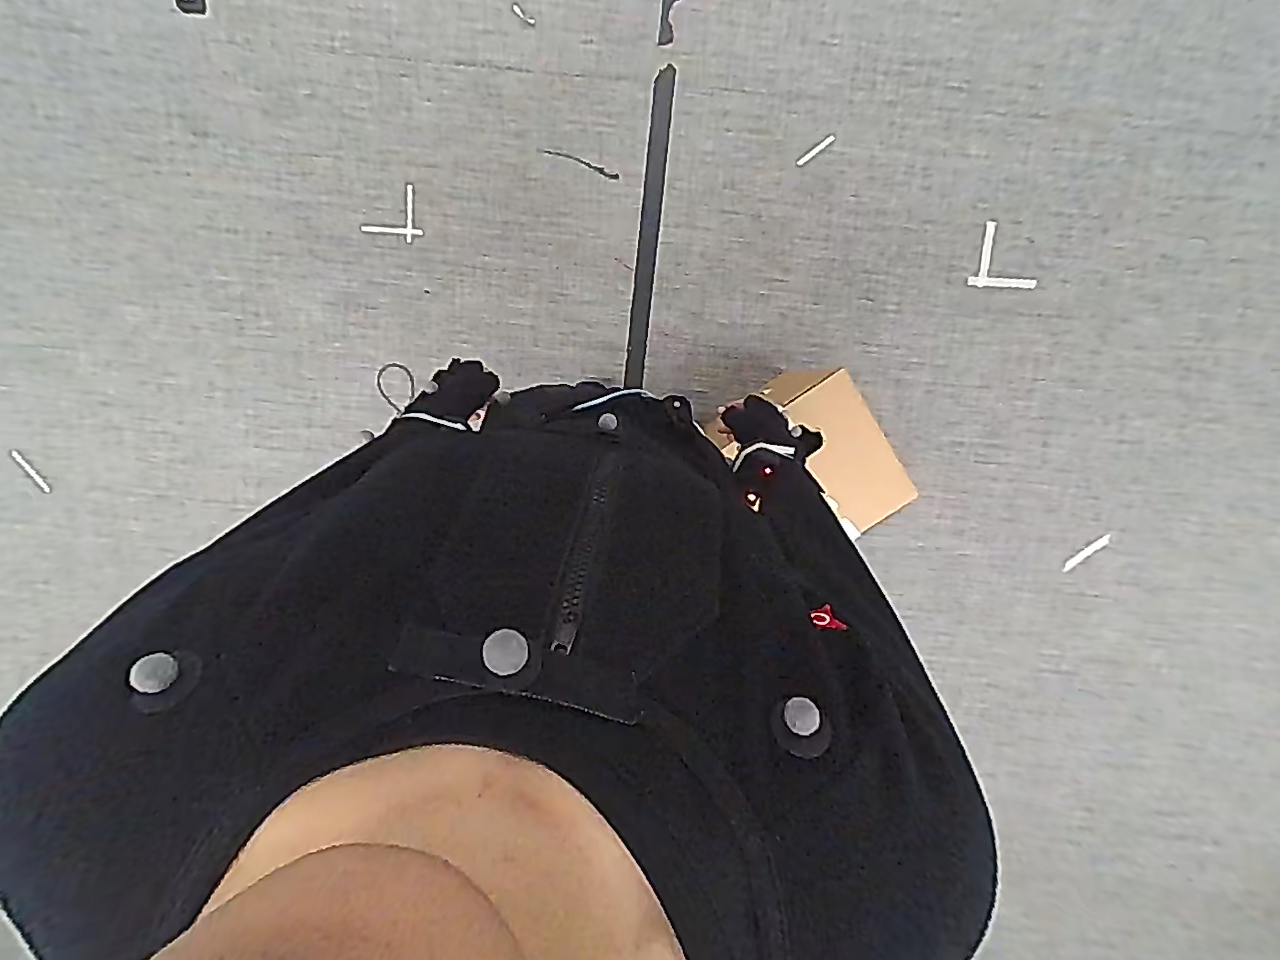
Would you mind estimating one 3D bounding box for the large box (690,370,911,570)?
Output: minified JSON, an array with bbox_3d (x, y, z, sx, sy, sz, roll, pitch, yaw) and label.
[{"bbox_3d":[0.350,-0.040,1.289,0.320,0.408,0.320,-33,98,5],"label":"large box"}]
